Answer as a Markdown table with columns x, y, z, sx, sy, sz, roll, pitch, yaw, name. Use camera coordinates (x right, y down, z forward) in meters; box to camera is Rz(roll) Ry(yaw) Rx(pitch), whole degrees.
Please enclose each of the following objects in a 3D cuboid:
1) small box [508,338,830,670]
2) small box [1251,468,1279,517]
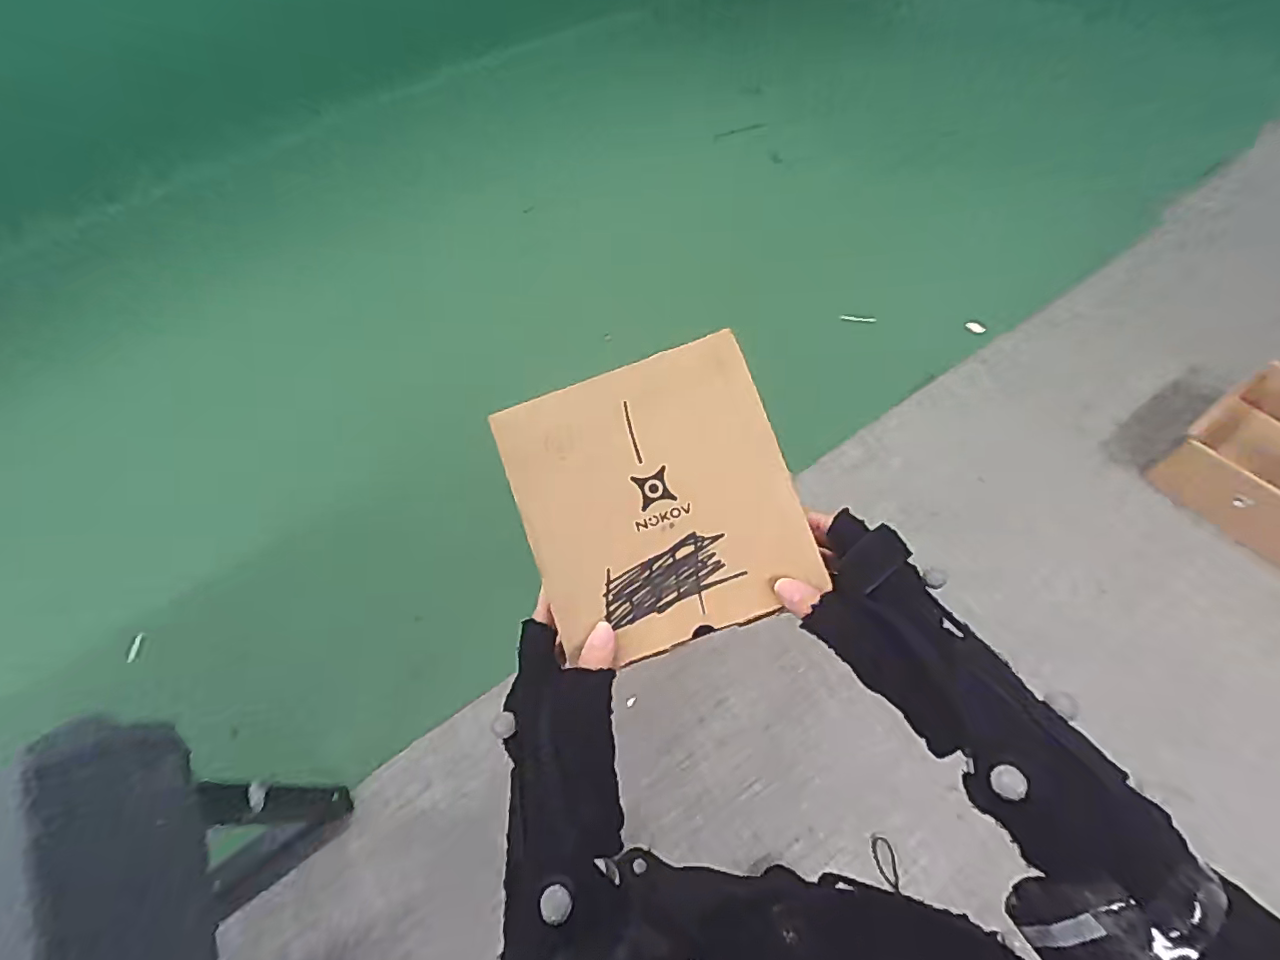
| x | y | z | sx | sy | sz | roll | pitch | yaw | name |
| --- | --- | --- | --- | --- | --- | --- | --- | --- | --- |
| 0.021 | 0.019 | 0.420 | 0.168 | 0.176 | 0.179 | -18 | 84 | 1 | small box |
| 1.662 | 0.022 | 1.298 | 0.168 | 0.176 | 0.179 | -35 | 62 | -16 | small box |
